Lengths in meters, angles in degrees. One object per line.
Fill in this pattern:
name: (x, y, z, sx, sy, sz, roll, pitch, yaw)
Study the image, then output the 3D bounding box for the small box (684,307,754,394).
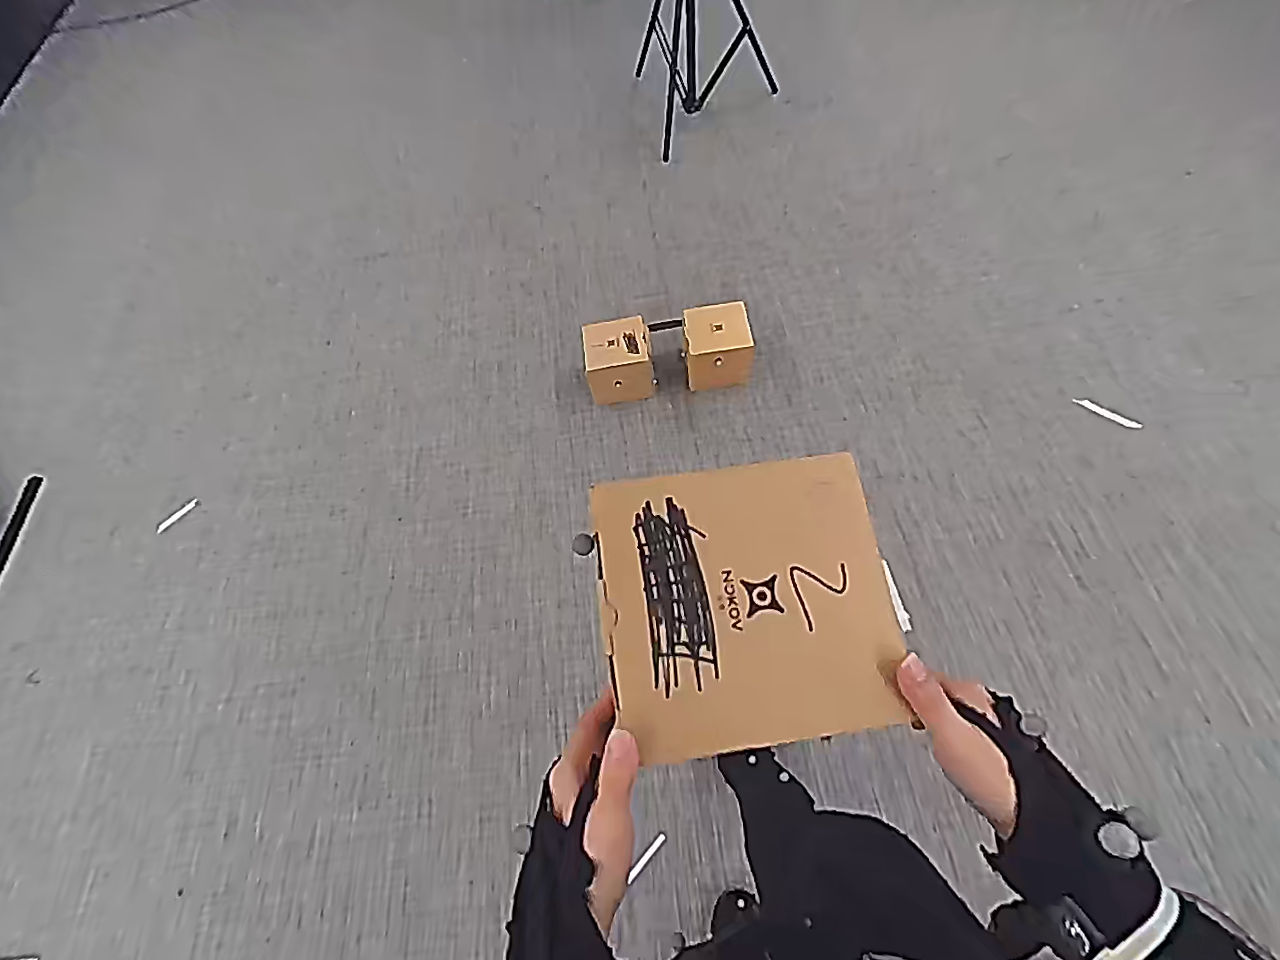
small box: (0.224, -0.370, 1.566, 0.179, 0.176, 0.168, -8, 63, 3)

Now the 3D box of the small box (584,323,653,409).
small box: (-0.057, -0.329, 1.576, 0.179, 0.176, 0.168, -9, 63, 4)
